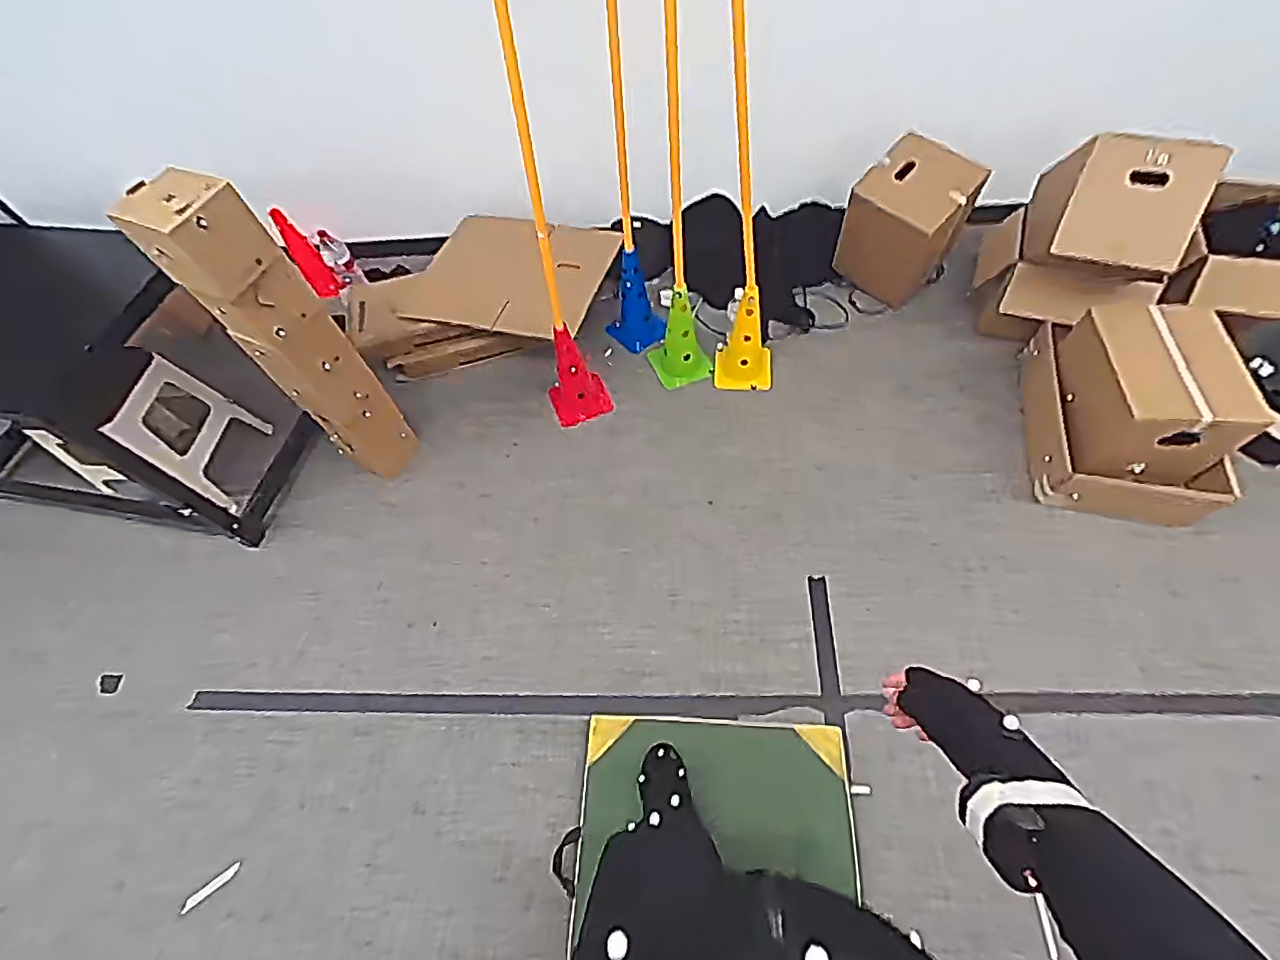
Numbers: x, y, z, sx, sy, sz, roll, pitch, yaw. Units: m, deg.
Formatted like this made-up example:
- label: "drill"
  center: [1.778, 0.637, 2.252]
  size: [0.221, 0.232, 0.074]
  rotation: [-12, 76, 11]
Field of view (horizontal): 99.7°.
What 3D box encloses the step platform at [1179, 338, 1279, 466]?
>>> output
- label: "step platform"
  center: [2.078, -0.315, 1.664]
  size: [0.684, 0.204, 0.286]
  rotation: [-26, 61, -9]
